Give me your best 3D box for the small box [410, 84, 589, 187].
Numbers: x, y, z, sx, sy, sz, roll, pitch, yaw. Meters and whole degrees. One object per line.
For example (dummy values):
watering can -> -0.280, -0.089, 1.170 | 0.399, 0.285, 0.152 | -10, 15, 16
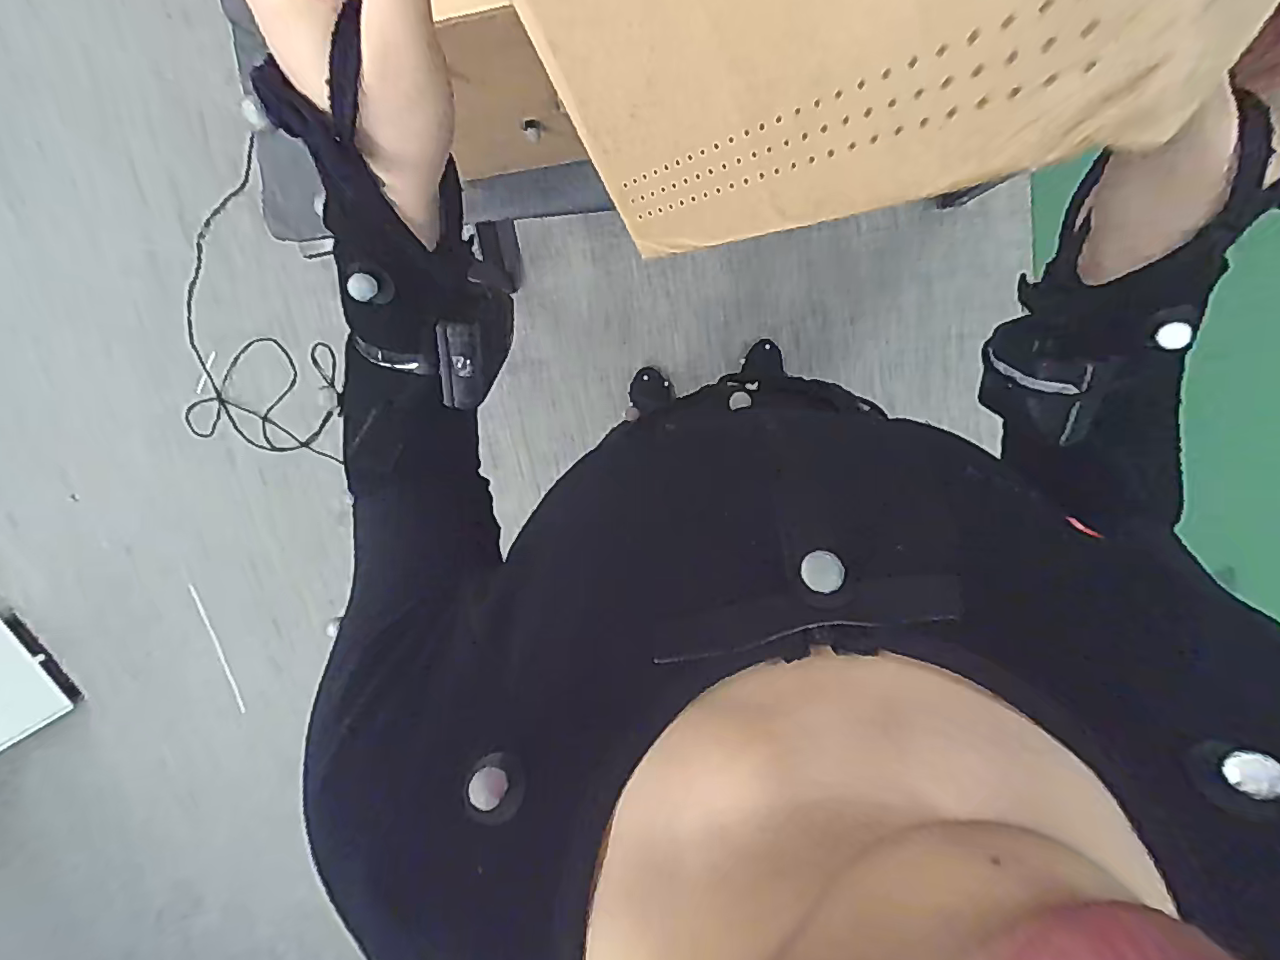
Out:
small box -> -0.157, -0.443, 0.589 | 0.179, 0.176, 0.168 | -6, 102, 6

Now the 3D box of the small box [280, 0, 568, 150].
small box -> -0.162, -0.395, 0.433 | 0.179, 0.176, 0.168 | -7, 102, 7
